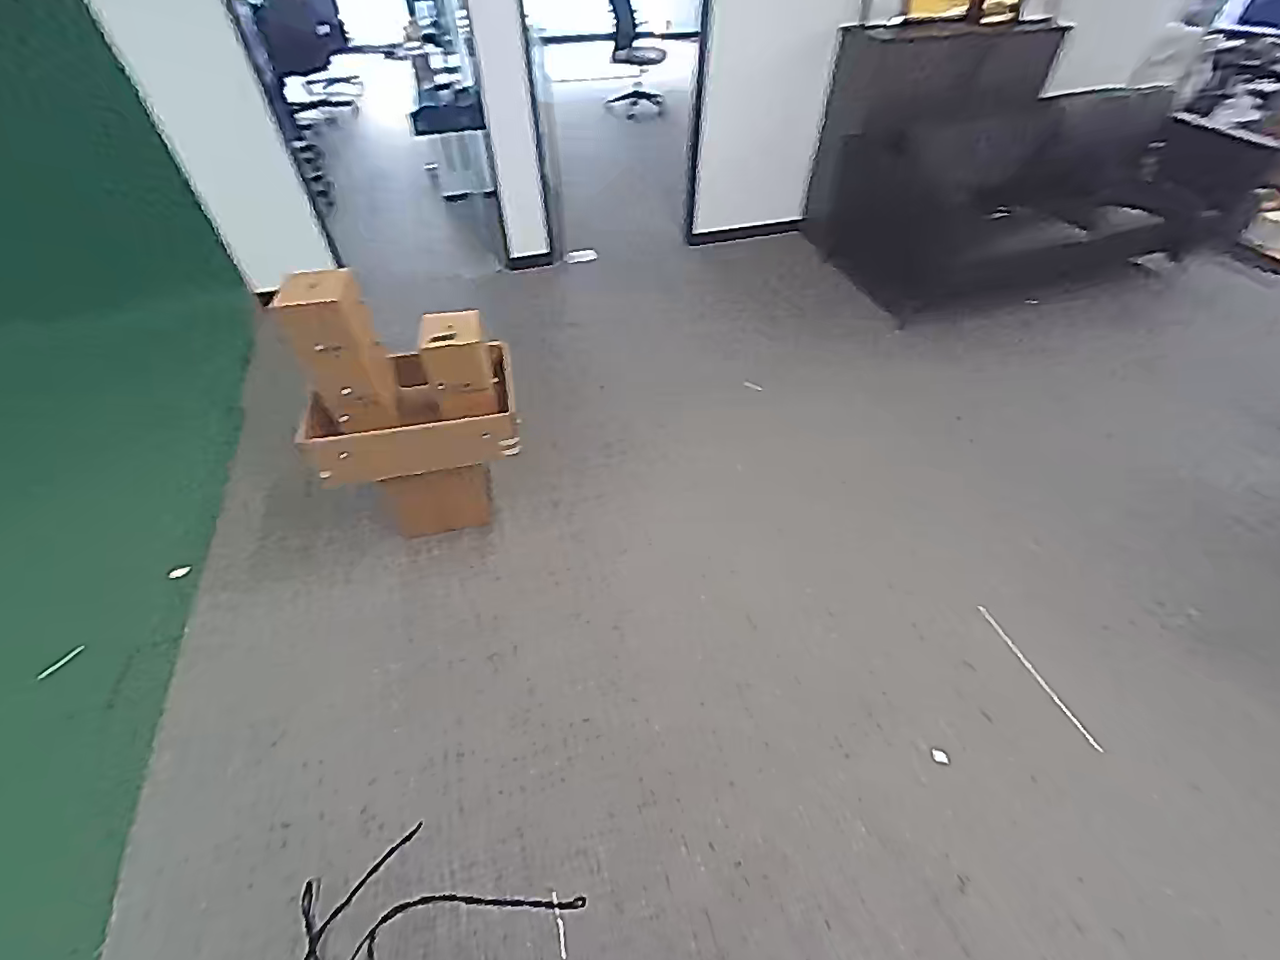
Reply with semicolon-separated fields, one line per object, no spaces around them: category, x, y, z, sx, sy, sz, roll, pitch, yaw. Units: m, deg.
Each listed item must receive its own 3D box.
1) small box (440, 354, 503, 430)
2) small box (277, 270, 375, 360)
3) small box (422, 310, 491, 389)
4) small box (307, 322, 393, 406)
small box;-0.551;-0.288;1.776;0.168;0.176;0.179;-9;50;-8
small box;-0.849;-0.452;1.483;0.168;0.176;0.179;-9;49;-6
small box;-0.551;-0.392;1.648;0.168;0.176;0.179;-8;49;-8
small box;-0.850;-0.344;1.605;0.168;0.176;0.179;-8;49;-6
